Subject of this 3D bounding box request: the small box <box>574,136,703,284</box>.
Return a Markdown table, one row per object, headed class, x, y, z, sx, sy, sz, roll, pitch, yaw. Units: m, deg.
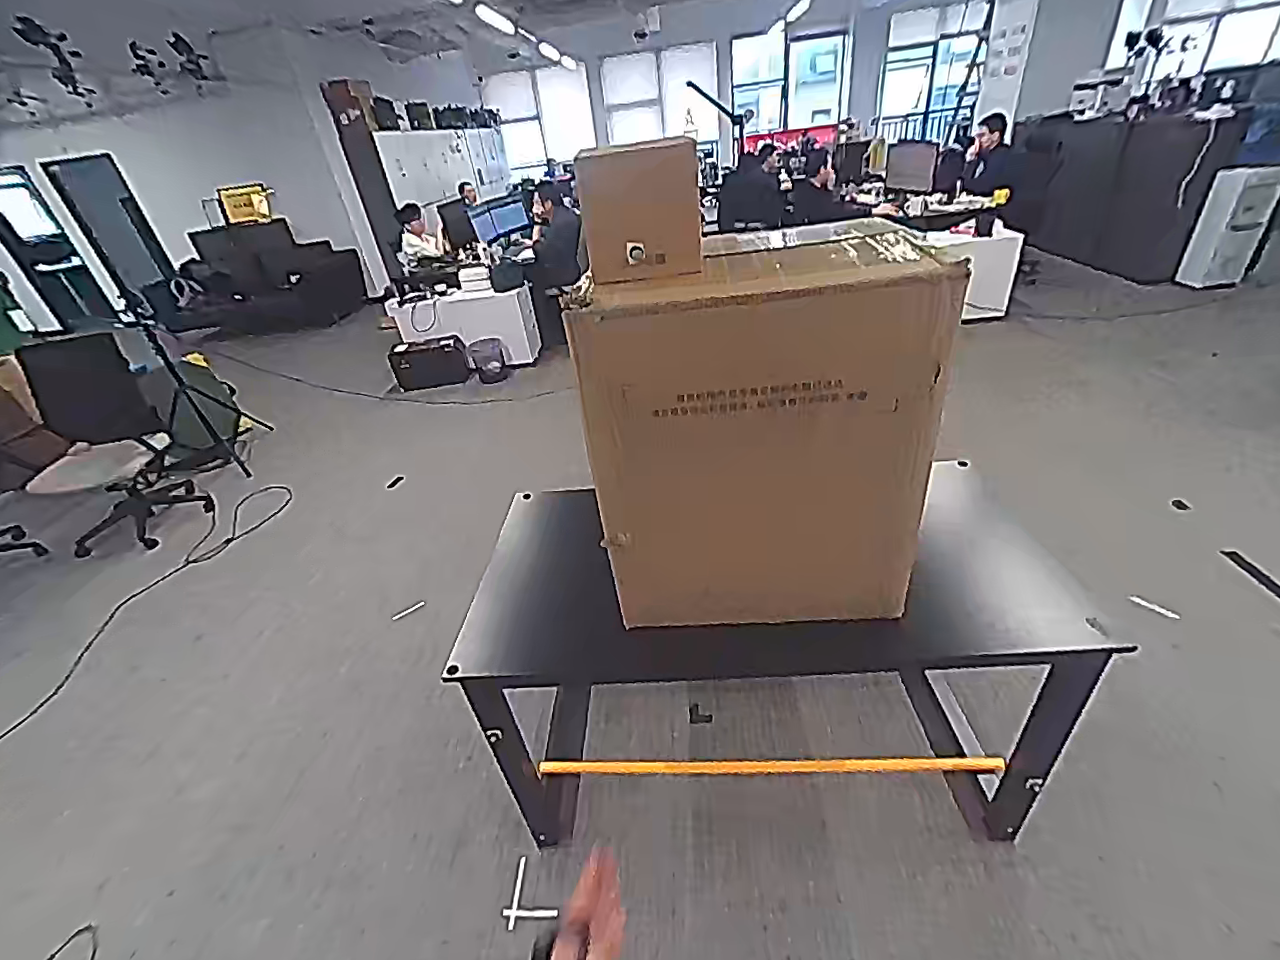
| class | x | y | z | sx | sy | sz | roll | pitch | yaw |
| --- | --- | --- | --- | --- | --- | --- | --- | --- | --- |
| small box | 0.001 | -0.407 | 0.815 | 0.168 | 0.176 | 0.179 | -8 | 35 | 2 |
